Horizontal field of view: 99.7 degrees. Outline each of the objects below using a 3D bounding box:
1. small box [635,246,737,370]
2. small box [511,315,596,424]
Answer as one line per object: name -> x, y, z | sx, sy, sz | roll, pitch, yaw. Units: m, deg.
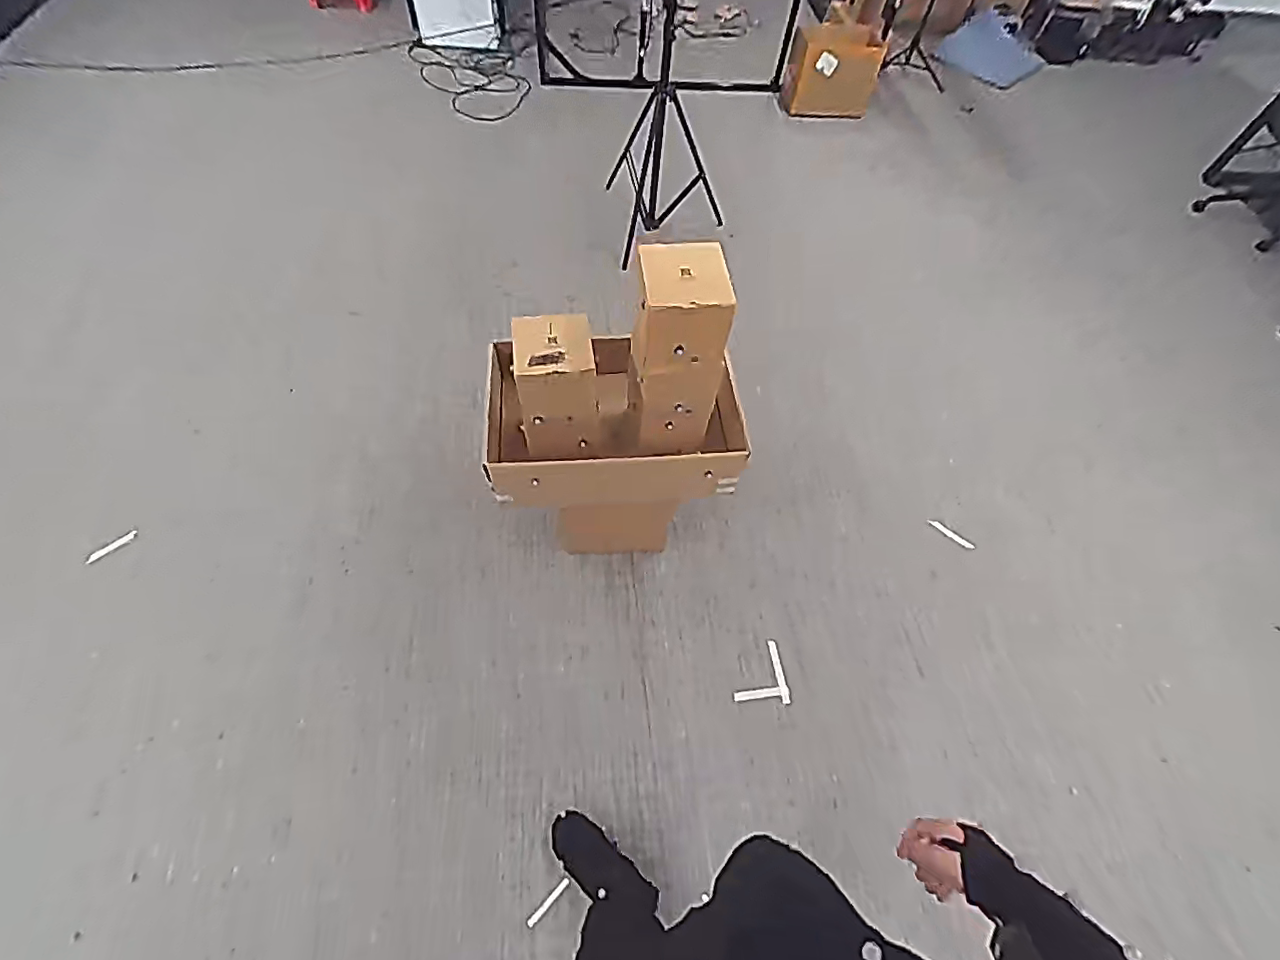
small box -> 0.082, -0.342, 1.084 | 0.168, 0.176, 0.179 | -5, 61, -6
small box -> -0.188, -0.236, 1.194 | 0.168, 0.176, 0.179 | -6, 58, -8
